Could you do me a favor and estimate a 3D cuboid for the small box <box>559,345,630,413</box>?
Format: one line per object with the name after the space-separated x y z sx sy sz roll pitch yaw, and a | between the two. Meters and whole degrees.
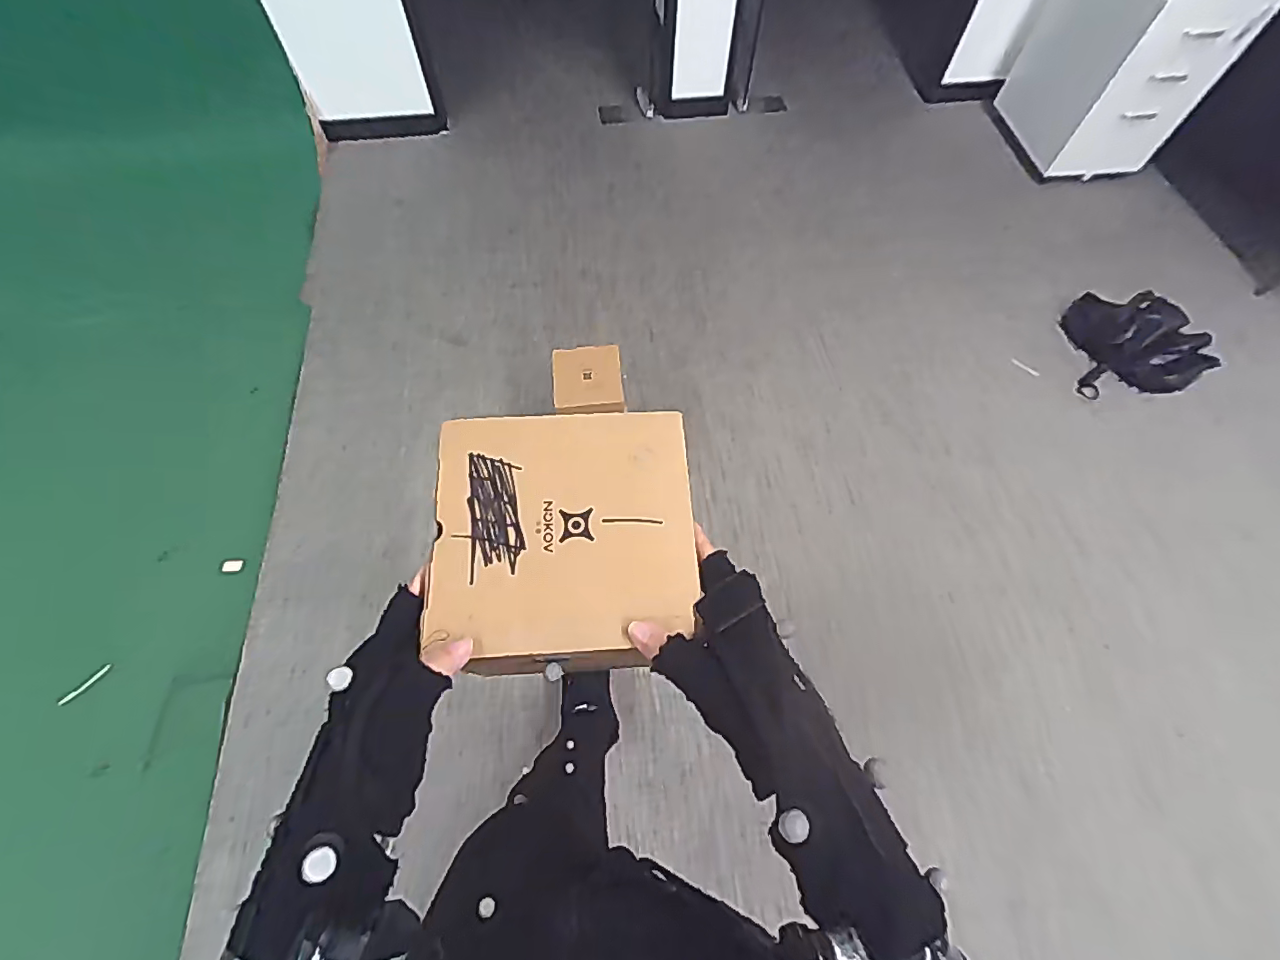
-0.112 -0.214 1.369 0.168 0.176 0.179 -6 64 -1 | small box

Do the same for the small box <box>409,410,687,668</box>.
-0.060 0.058 0.438 0.179 0.176 0.168 -2 68 -2 | small box
